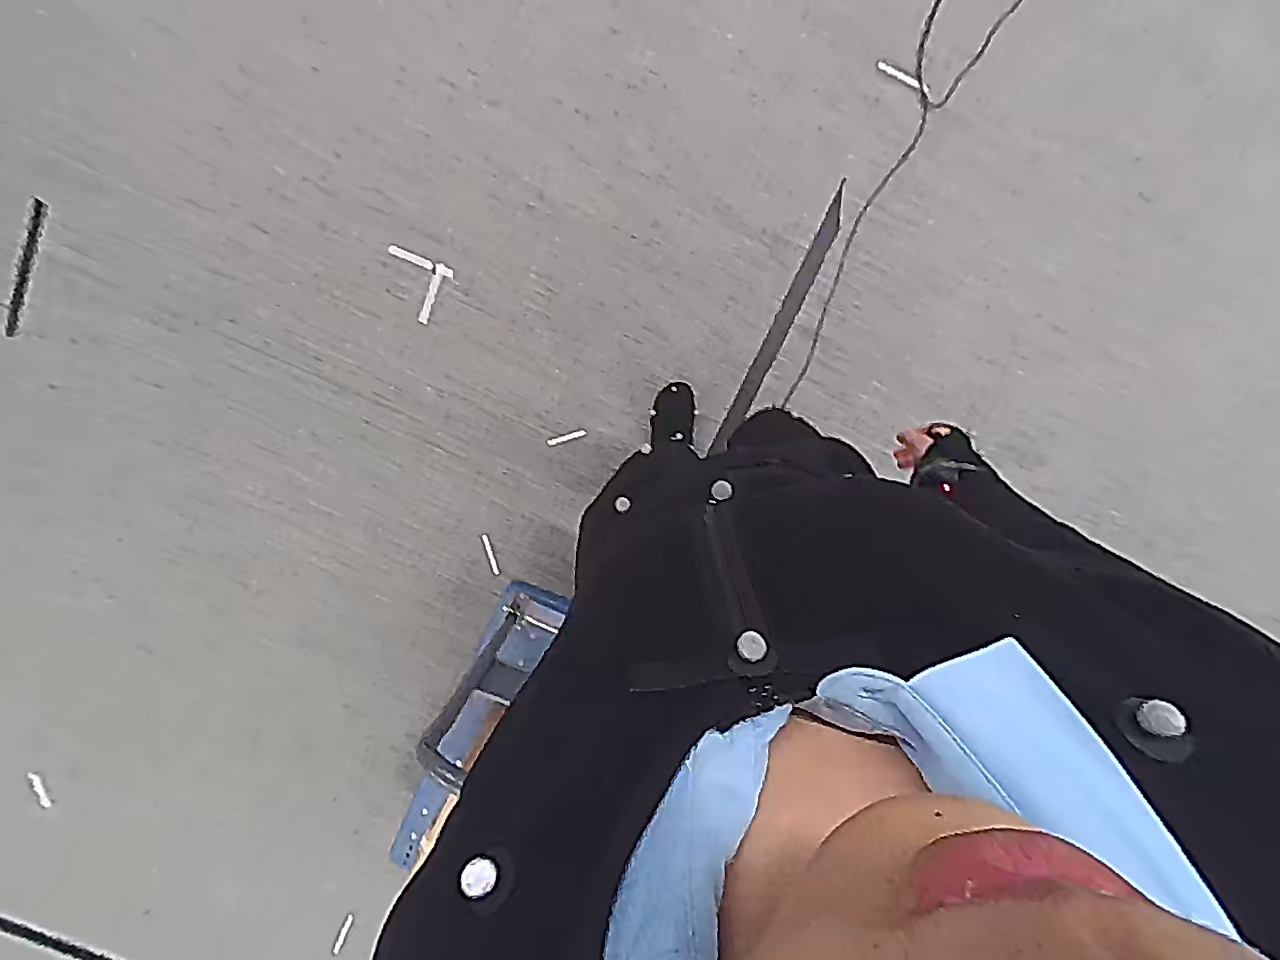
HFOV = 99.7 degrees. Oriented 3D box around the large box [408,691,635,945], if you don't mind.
[{"bbox_3d":[-0.257,0.779,1.292,0.408,0.320,0.320,26,98,-5],"label":"large box"}]
